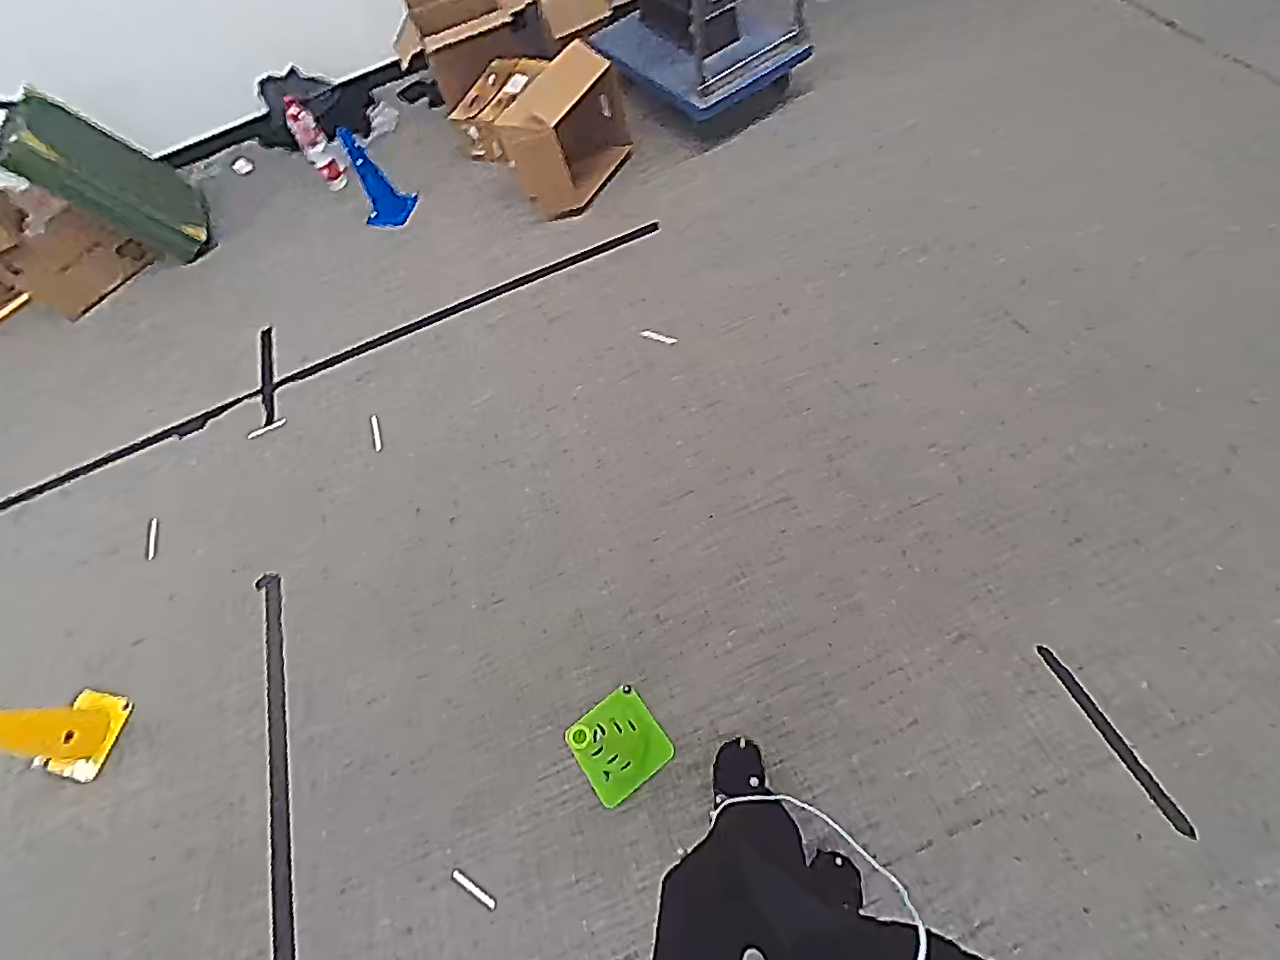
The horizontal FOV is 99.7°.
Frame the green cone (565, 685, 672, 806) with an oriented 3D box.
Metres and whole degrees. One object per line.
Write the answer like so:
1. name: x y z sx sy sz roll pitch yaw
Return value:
1. green cone: -0.081 0.542 1.119 0.200 0.368 0.202 -38 63 -9
